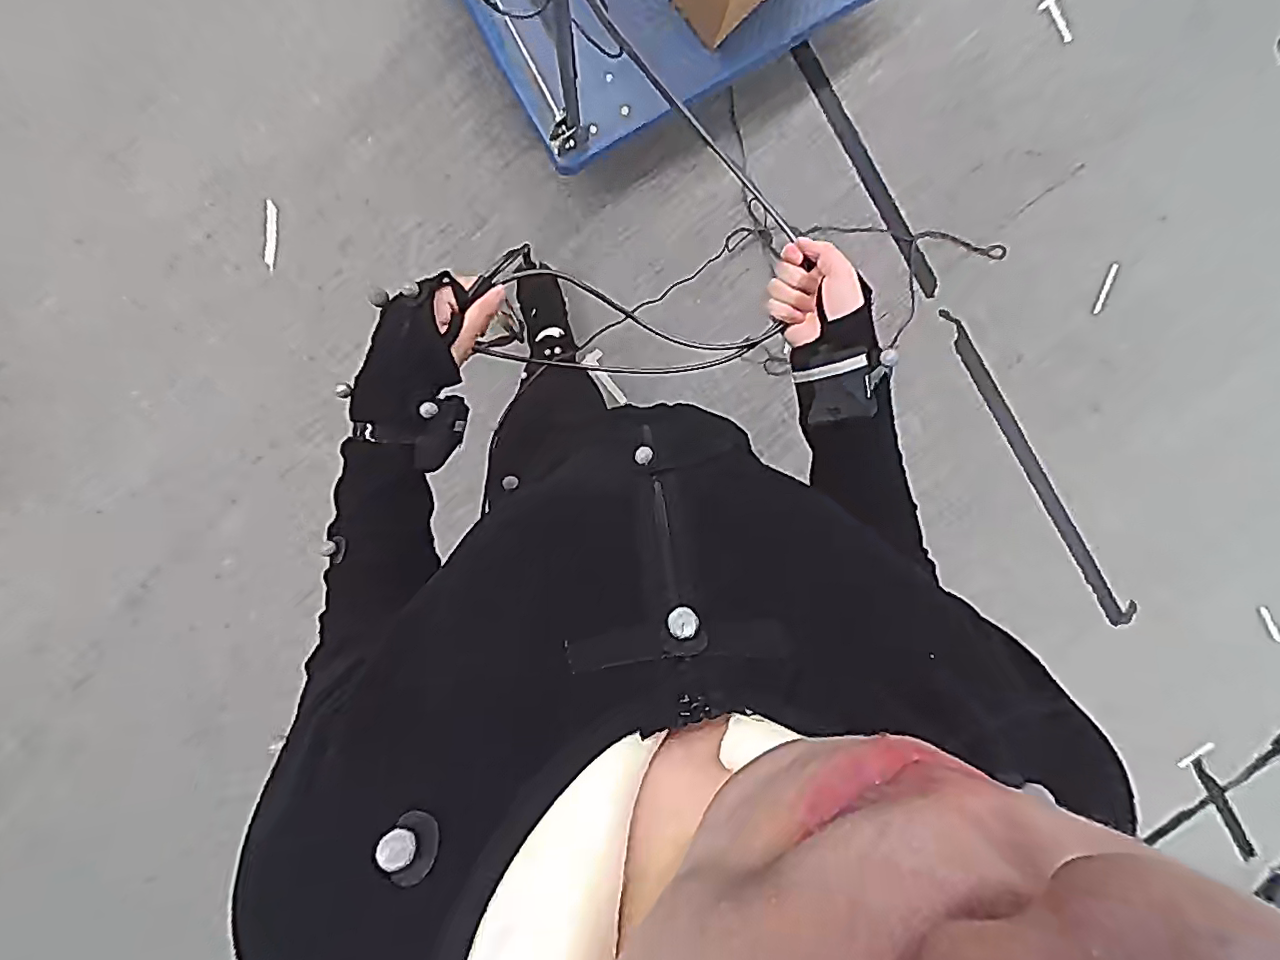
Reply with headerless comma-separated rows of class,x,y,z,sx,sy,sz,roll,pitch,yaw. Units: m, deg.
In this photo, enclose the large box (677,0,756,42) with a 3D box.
large box,0.138,-1.127,0.945,0.320,0.320,0.408,-44,102,5
